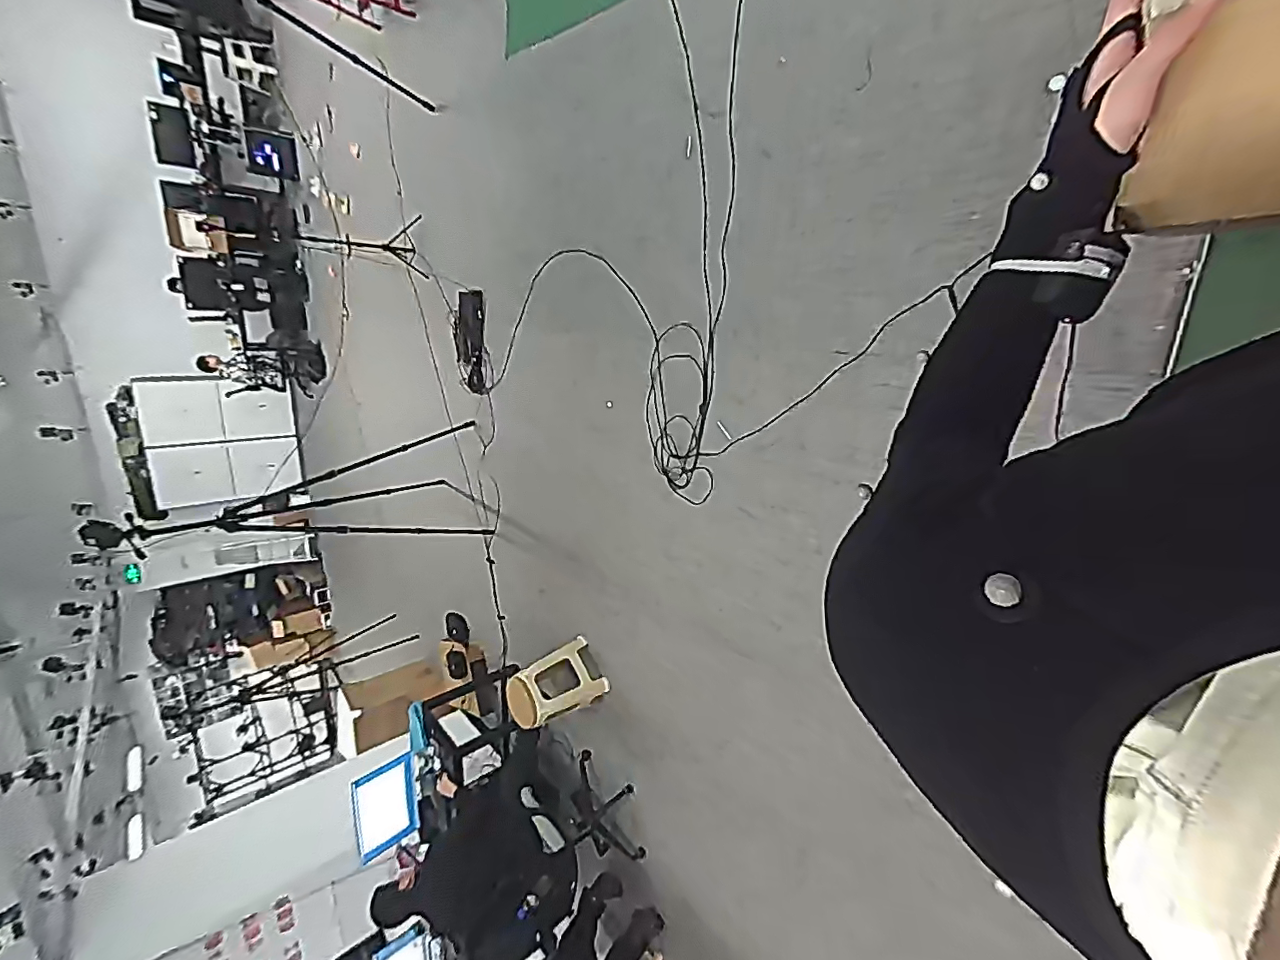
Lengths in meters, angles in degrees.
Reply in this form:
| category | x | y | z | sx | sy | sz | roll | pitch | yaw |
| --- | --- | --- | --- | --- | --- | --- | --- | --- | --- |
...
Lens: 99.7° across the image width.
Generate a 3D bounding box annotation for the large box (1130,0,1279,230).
| category | x | y | z | sx | sy | sz | roll | pitch | yaw |
| --- | --- | --- | --- | --- | --- | --- | --- | --- | --- |
| large box | 0.630 | -0.370 | 0.358 | 0.408 | 0.320 | 0.320 | 13 | 116 | 45 |
